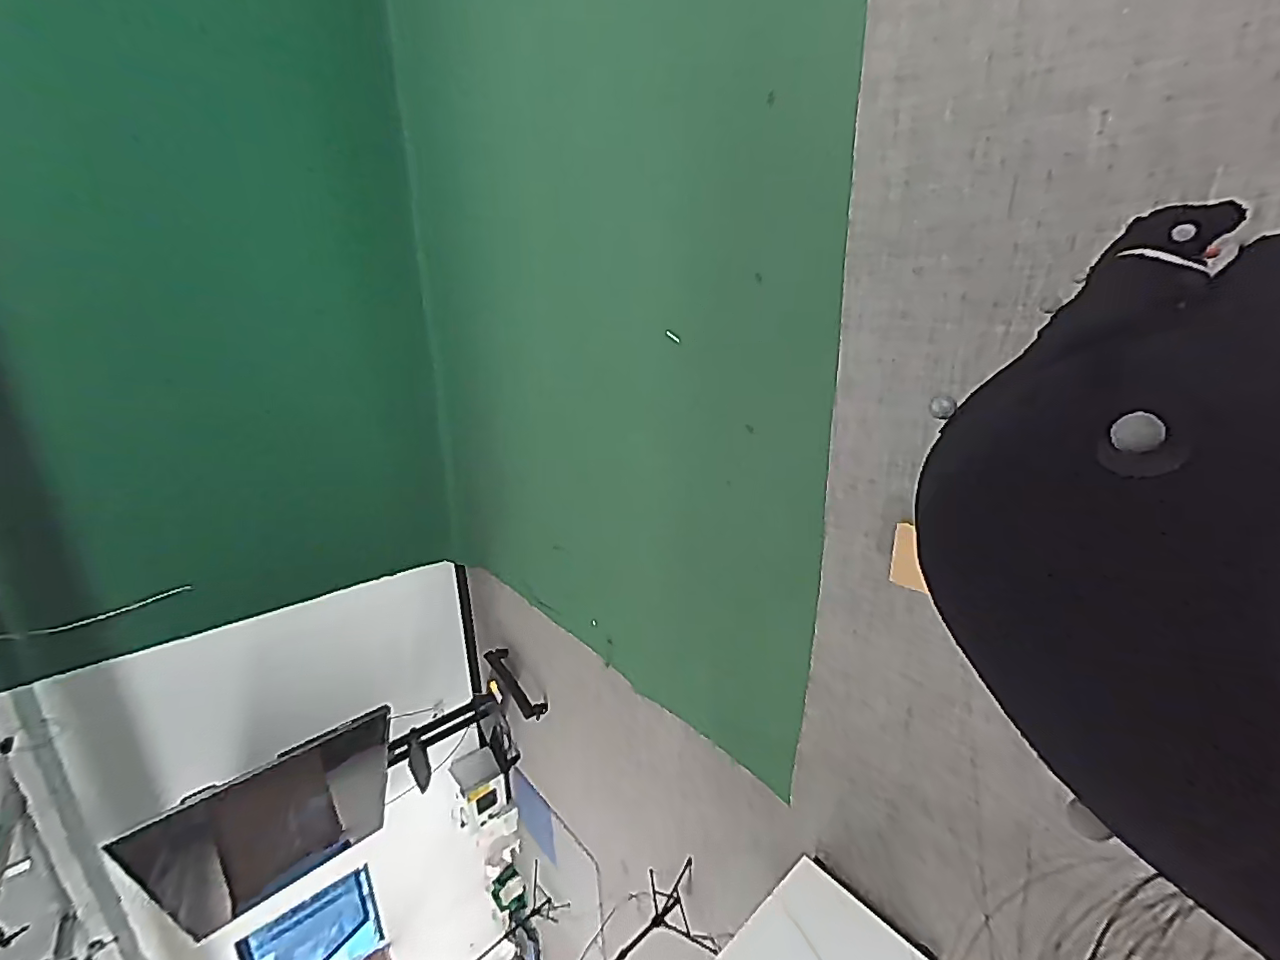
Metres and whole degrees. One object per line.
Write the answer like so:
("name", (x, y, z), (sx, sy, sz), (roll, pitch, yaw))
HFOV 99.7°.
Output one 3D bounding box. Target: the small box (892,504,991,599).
("small box", (0.788, 0.179, 1.412), (0.168, 0.176, 0.179), (19, 115, 46))
